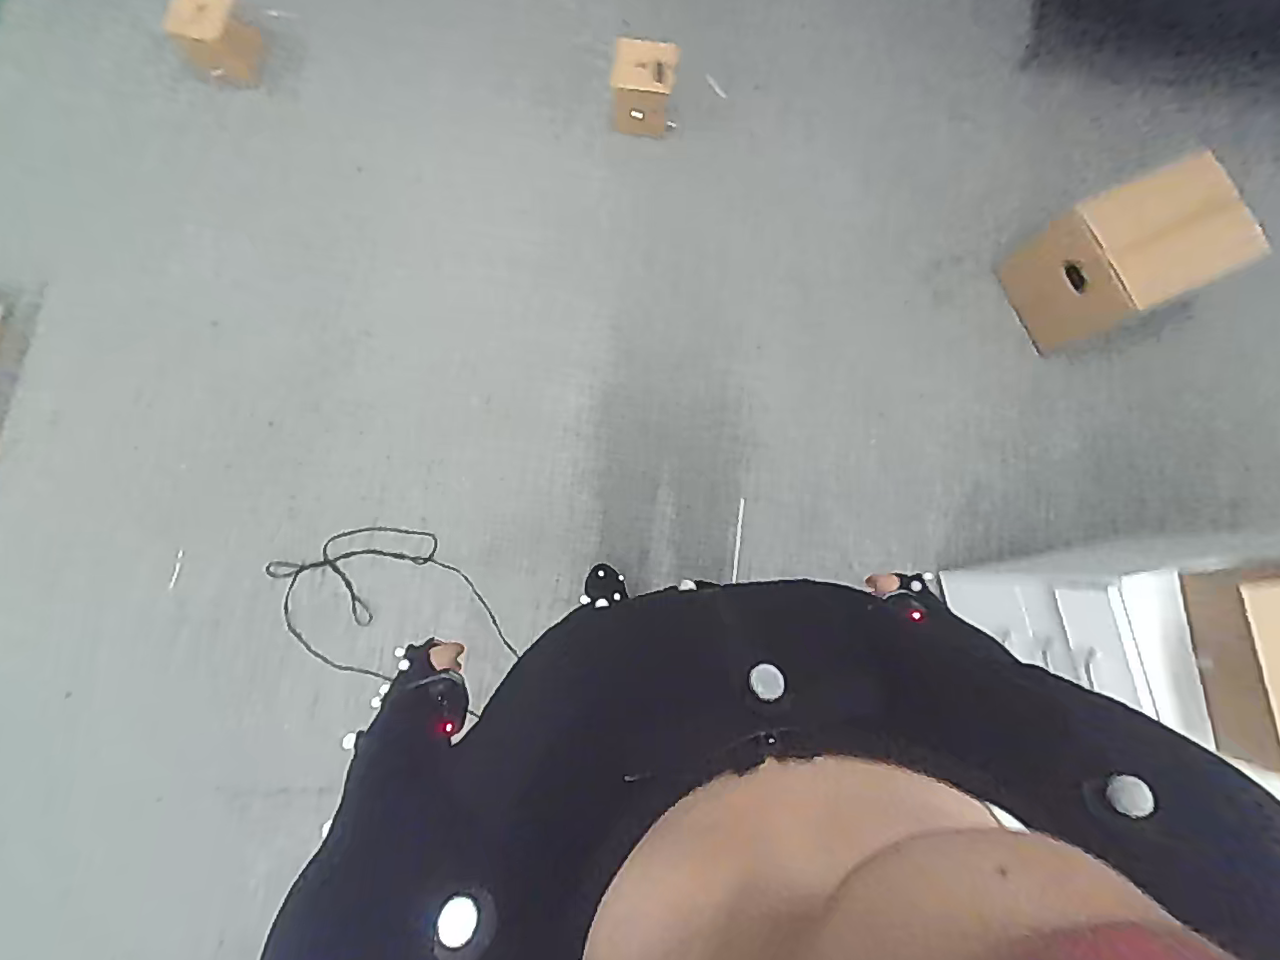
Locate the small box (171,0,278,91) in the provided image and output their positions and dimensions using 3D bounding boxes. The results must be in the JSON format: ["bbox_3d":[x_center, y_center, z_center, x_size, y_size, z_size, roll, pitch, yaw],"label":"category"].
[{"bbox_3d":[-1.235,-1.329,1.624,0.168,0.176,0.179,13,81,1],"label":"small box"}]

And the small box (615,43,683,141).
[{"bbox_3d":[0.025,-1.166,1.638,0.179,0.176,0.168,9,81,0],"label":"small box"}]
